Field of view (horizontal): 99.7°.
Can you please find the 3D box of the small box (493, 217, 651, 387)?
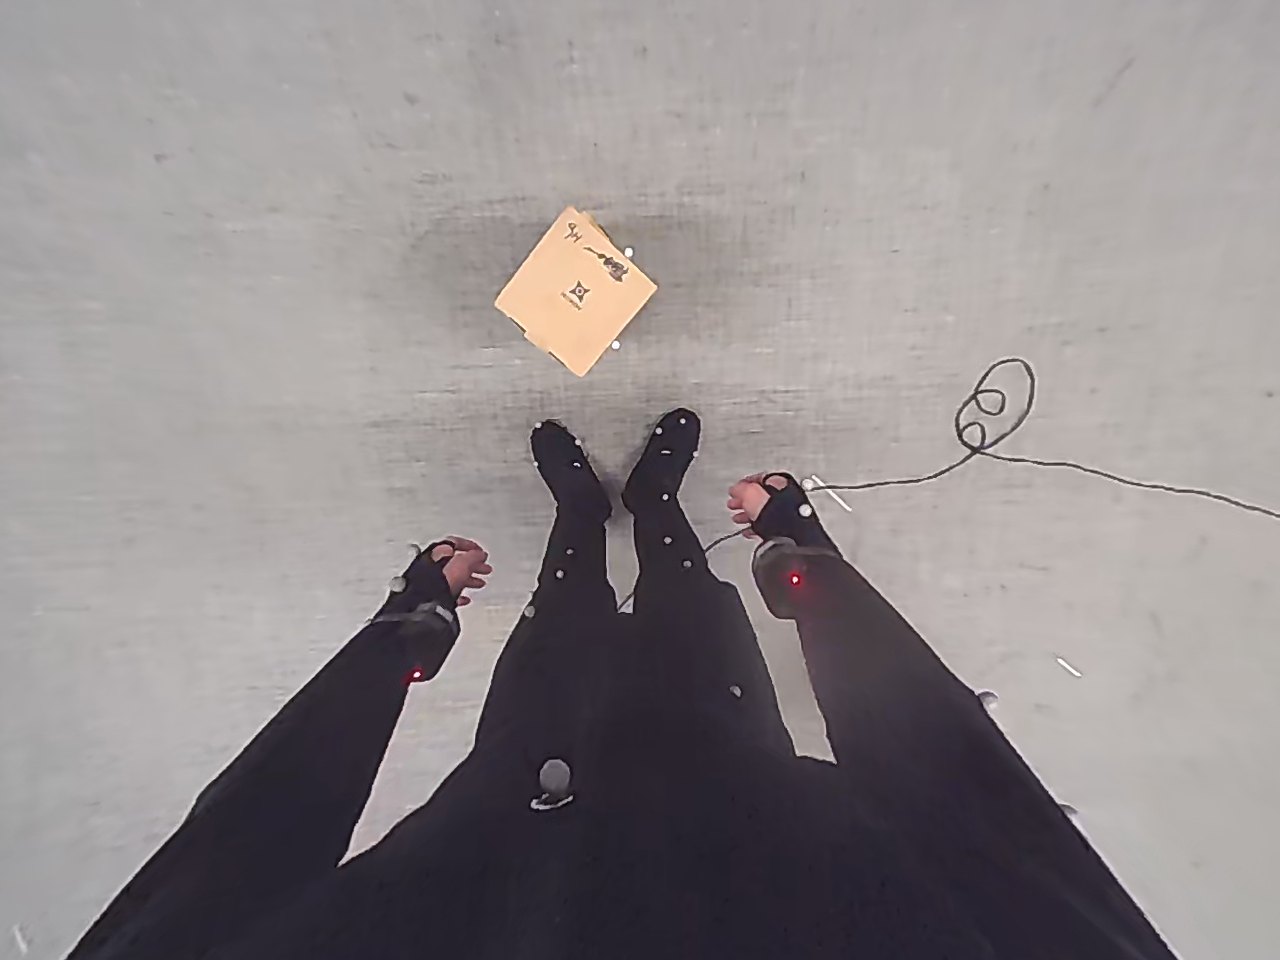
[{"bbox_3d":[-0.097,-0.272,0.853,0.168,0.176,0.179,40,101,-12],"label":"small box"}]
